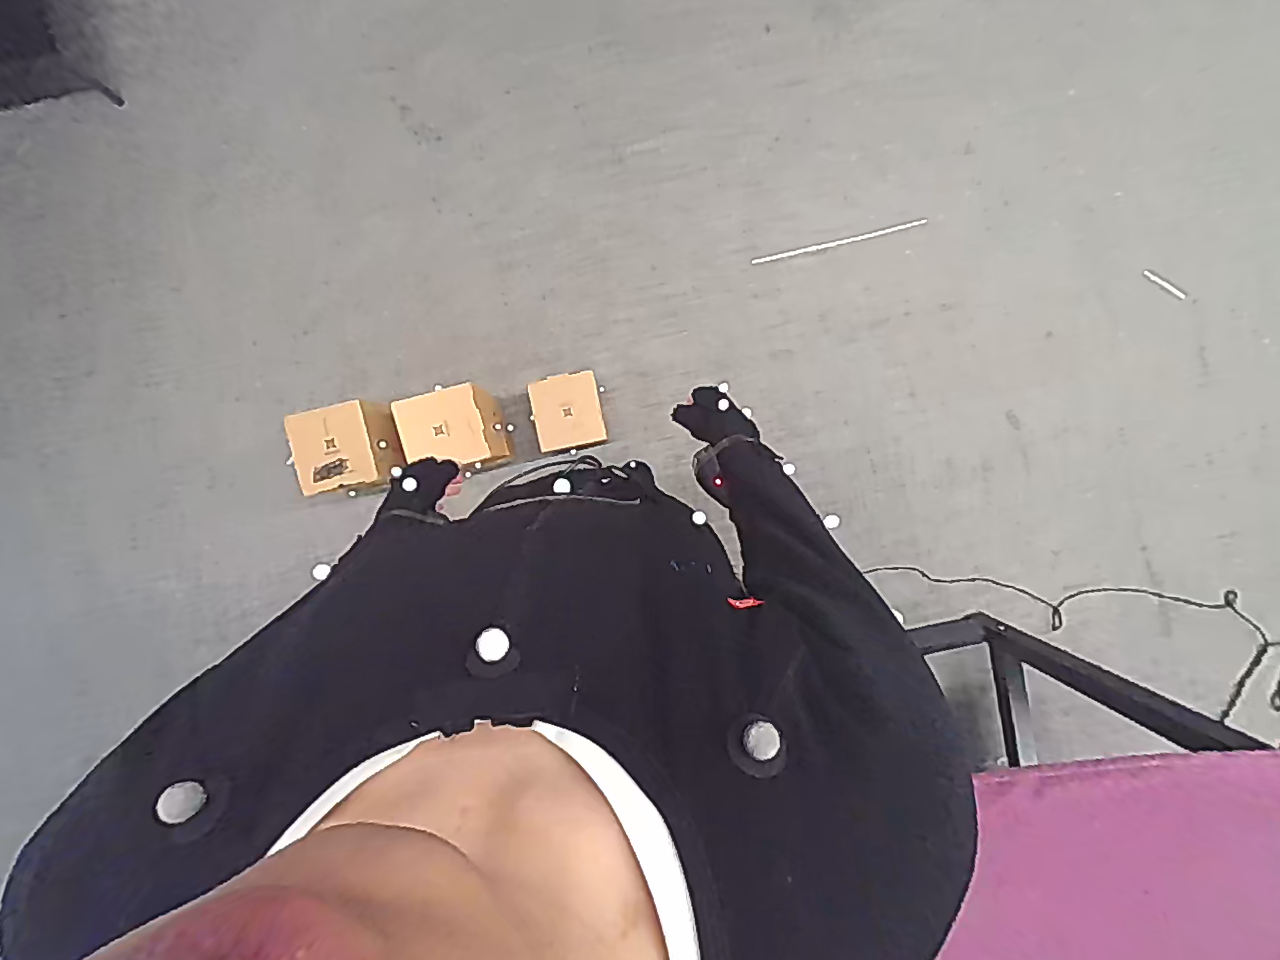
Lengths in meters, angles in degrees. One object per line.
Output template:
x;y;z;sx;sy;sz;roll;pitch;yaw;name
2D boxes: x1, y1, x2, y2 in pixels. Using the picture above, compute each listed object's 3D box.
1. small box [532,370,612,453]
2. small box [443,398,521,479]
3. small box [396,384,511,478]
-0.168;-0.168;1.385;0.168;0.176;0.179;-12;93;0;small box
-0.418;-0.107;1.381;0.168;0.176;0.179;-15;92;1;small box
-0.411;-0.105;1.219;0.179;0.176;0.168;-16;93;-1;small box
